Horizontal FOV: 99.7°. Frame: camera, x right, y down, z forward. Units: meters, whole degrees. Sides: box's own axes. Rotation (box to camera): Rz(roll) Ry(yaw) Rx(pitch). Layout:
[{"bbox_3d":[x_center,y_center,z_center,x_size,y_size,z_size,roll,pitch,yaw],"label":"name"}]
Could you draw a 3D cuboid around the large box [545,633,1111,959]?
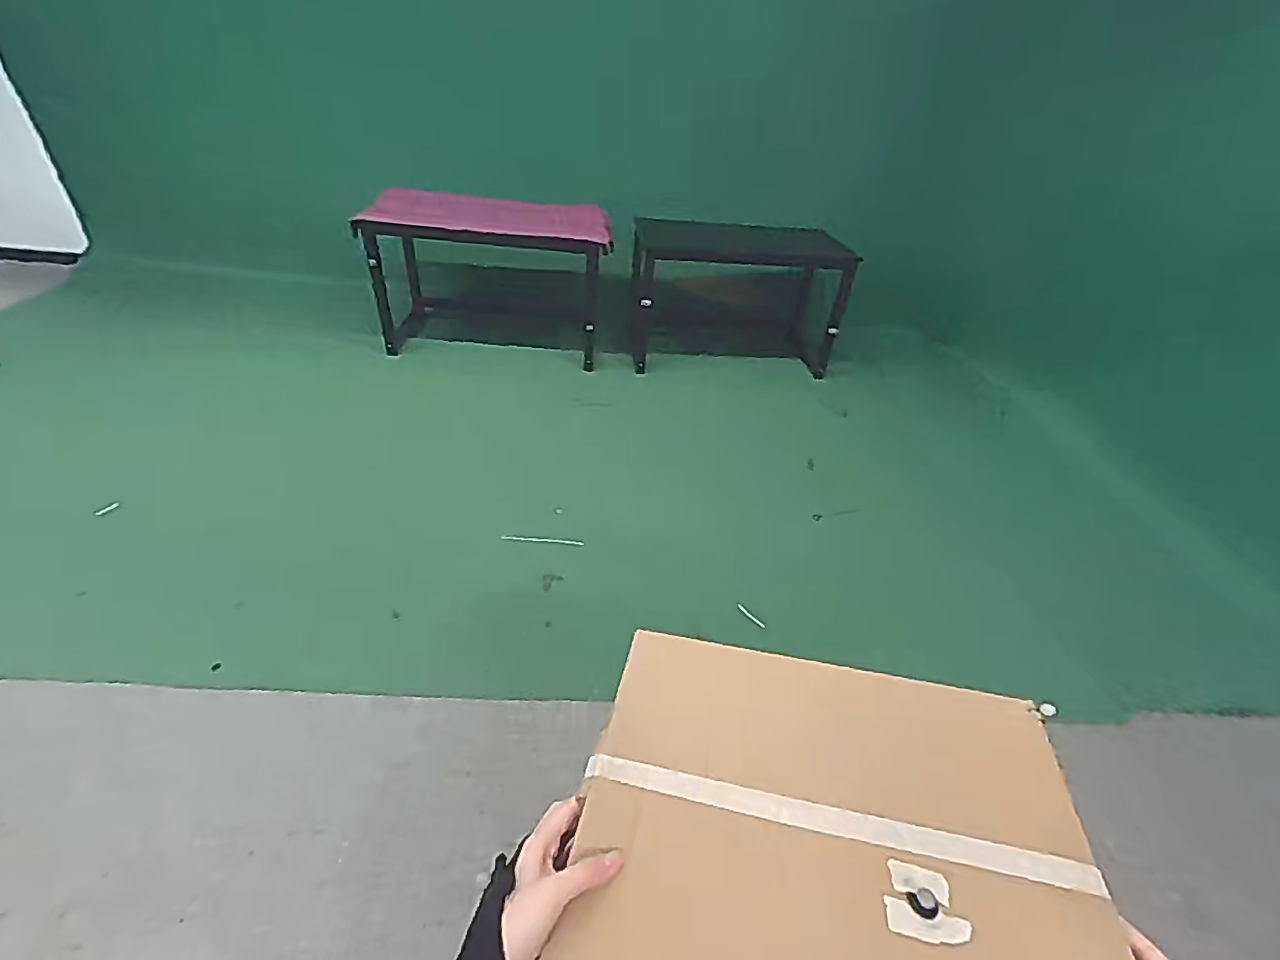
[{"bbox_3d":[0.153,0.404,0.551,0.408,0.320,0.320,7,38,10],"label":"large box"}]
